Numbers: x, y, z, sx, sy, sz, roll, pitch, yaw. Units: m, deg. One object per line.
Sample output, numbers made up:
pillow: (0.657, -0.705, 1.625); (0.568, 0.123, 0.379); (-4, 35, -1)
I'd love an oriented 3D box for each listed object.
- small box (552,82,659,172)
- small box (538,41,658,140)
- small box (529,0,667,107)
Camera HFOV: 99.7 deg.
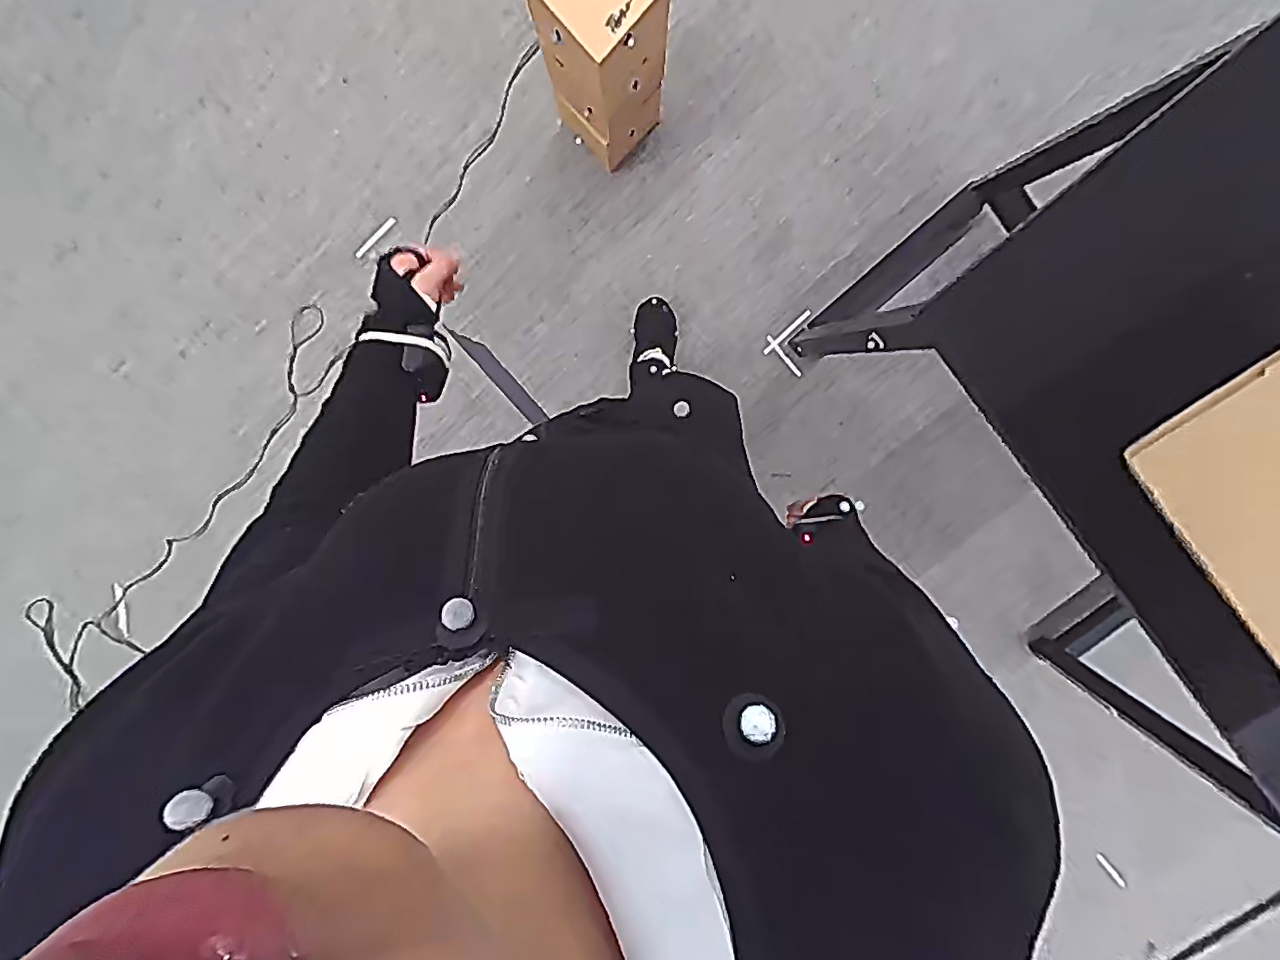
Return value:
small box: (-0.076, -0.853, 1.233); (0.179, 0.176, 0.168); (-44, 98, 9)
small box: (-0.074, -0.826, 1.072); (0.168, 0.176, 0.179); (41, 97, -9)
small box: (-0.072, -0.789, 0.913); (0.179, 0.176, 0.168); (44, 98, -8)
